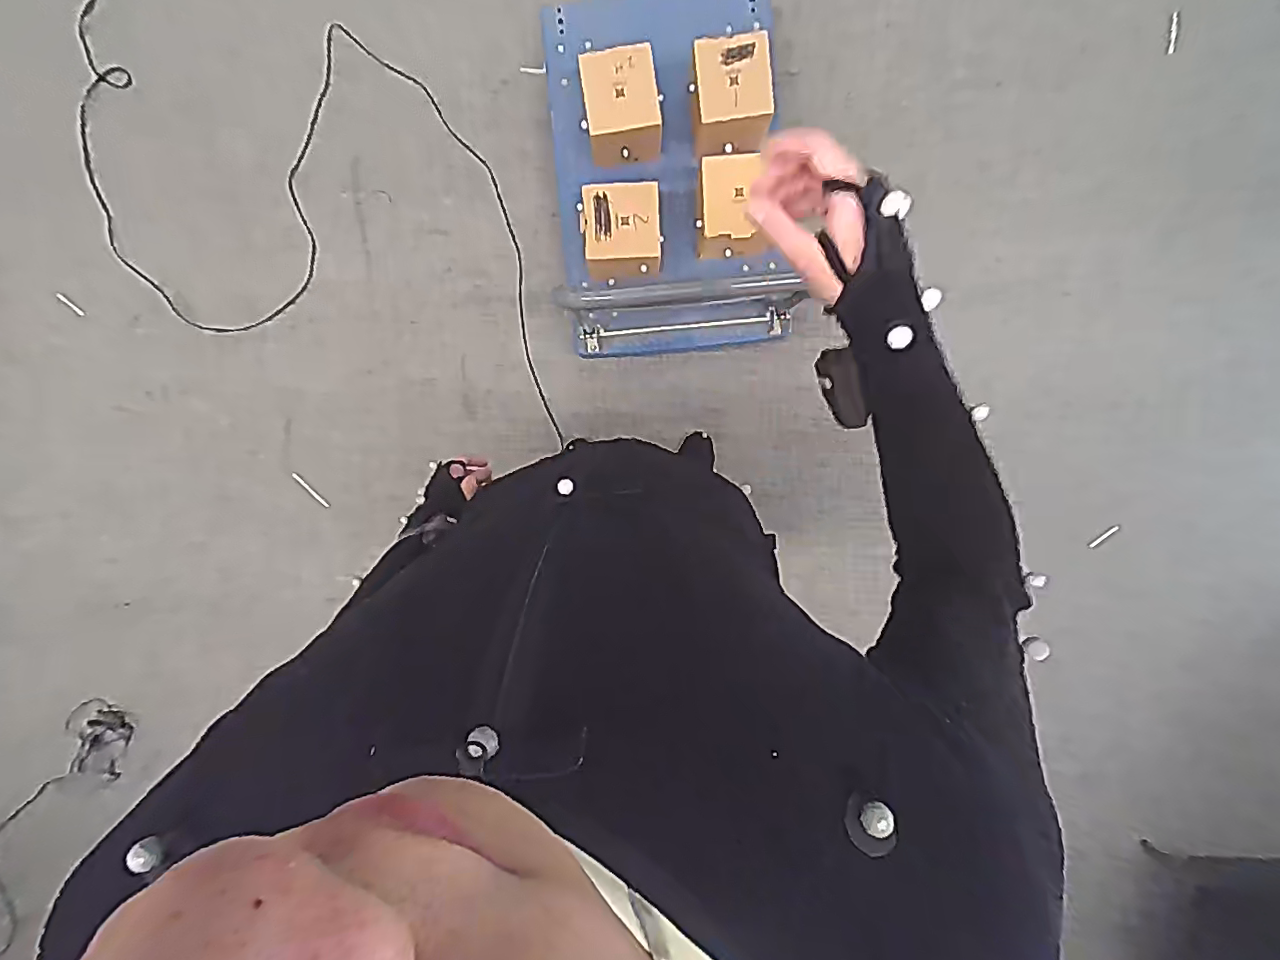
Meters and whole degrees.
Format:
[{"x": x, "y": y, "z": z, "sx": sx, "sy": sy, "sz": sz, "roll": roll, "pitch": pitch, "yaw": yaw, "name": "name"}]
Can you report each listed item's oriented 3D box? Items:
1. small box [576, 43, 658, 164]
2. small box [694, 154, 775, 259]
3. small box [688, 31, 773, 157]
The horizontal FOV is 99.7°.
[{"x": -0.048, "y": -0.874, "z": 1.278, "sx": 0.168, "sy": 0.176, "sz": 0.179, "roll": -9, "pitch": 96, "yaw": 1, "name": "small box"}, {"x": 0.222, "y": -0.652, "z": 1.302, "sx": 0.168, "sy": 0.176, "sz": 0.179, "roll": -3, "pitch": 95, "yaw": 1, "name": "small box"}, {"x": 0.207, "y": -0.898, "z": 1.273, "sx": 0.168, "sy": 0.176, "sz": 0.179, "roll": -7, "pitch": 97, "yaw": 2, "name": "small box"}]
